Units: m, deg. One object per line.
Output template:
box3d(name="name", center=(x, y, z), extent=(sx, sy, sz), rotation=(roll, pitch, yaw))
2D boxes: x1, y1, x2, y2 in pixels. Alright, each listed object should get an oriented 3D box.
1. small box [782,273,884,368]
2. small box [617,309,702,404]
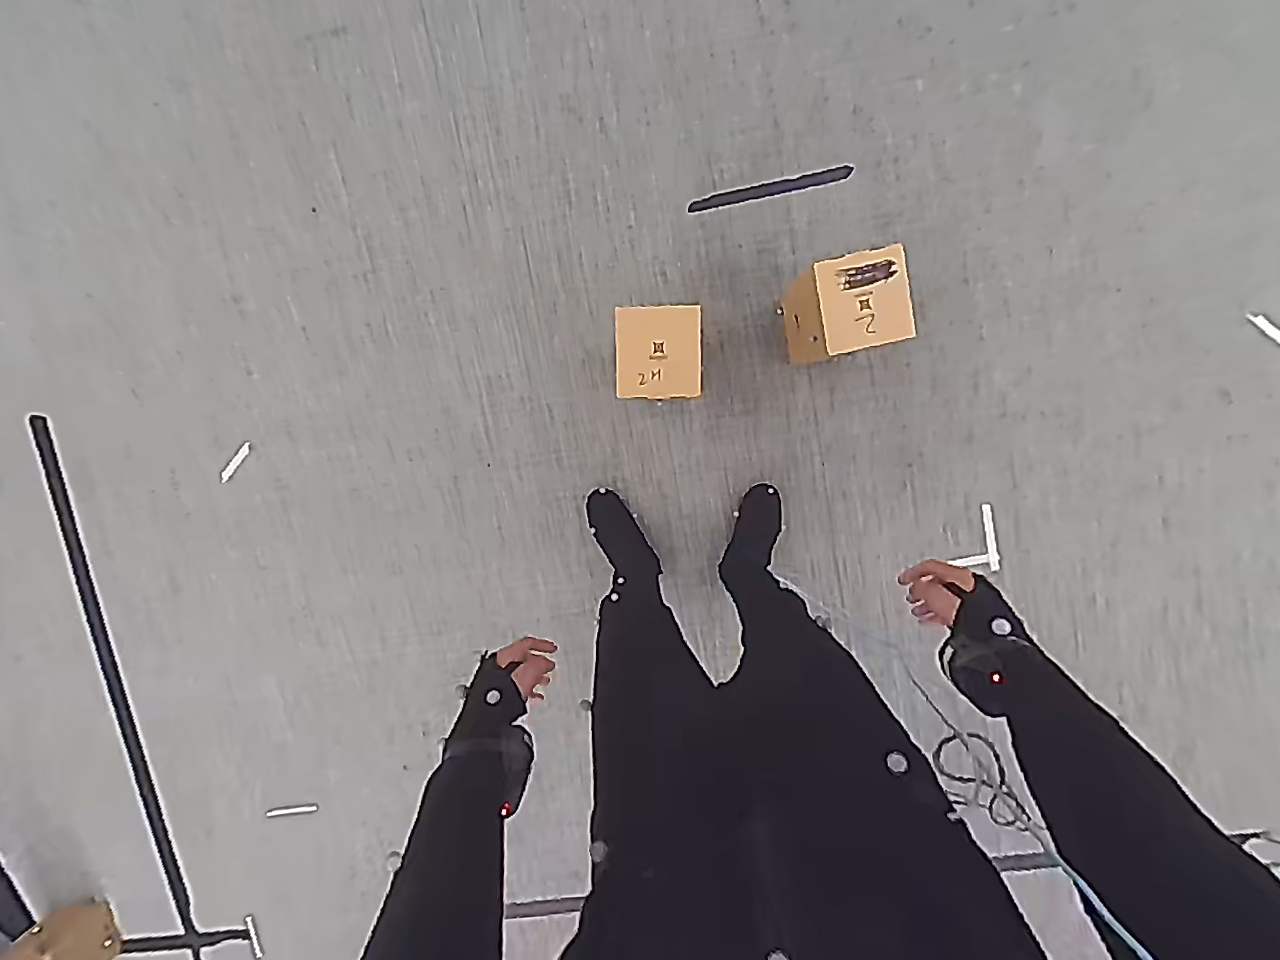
box3d(name="small box", center=(0.435, -0.358, 1.248), extent=(0.179, 0.176, 0.168), rotation=(-11, 97, 4))
box3d(name="small box", center=(0.041, -0.249, 1.118), extent=(0.168, 0.176, 0.179), rotation=(0, 98, 4))
